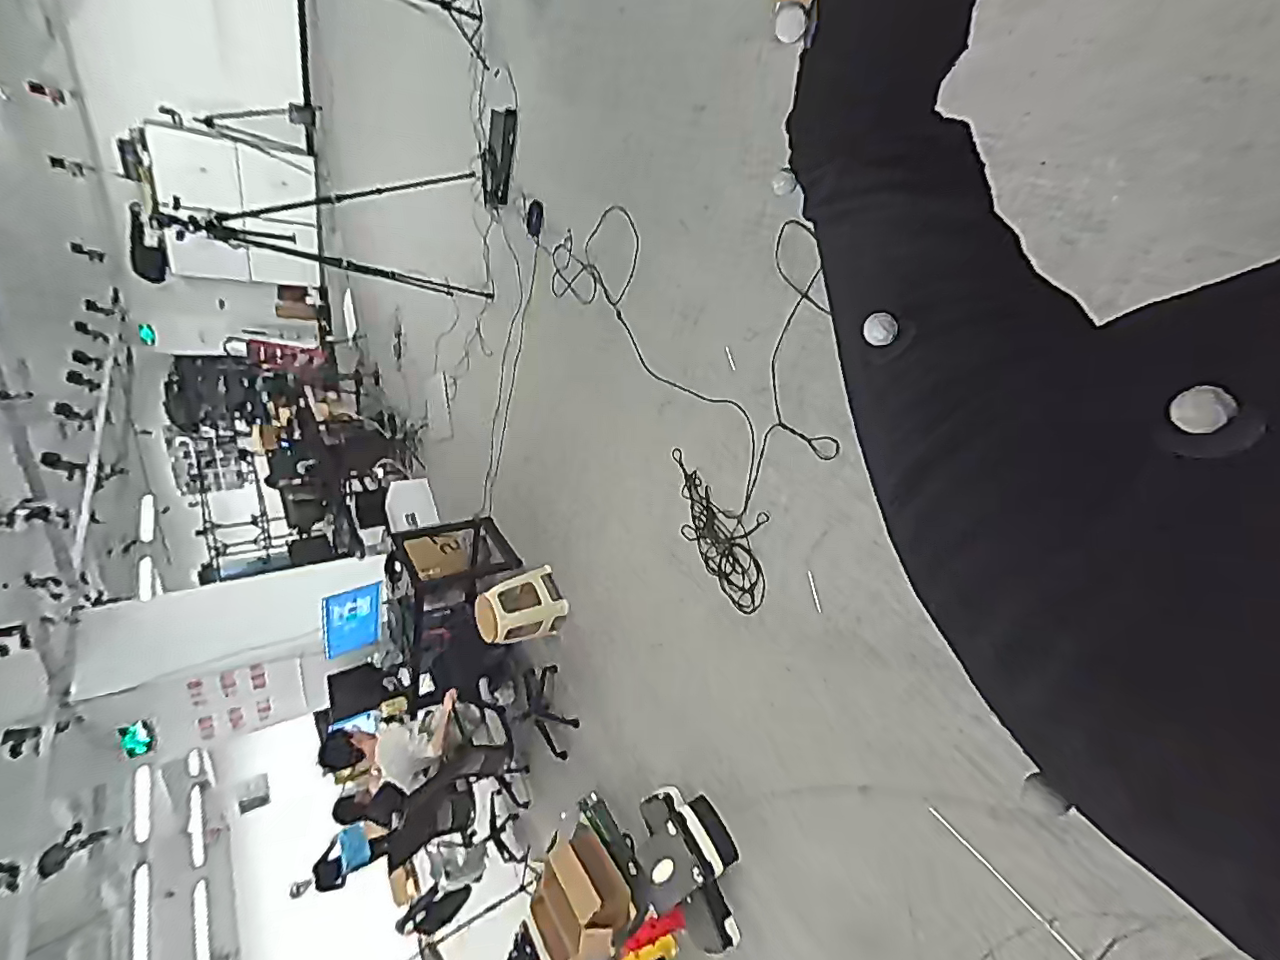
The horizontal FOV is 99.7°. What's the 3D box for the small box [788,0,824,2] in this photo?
[{"bbox_3d":[0.454,-1.467,1.505,0.179,0.176,0.168,45,130,40],"label":"small box"}]
